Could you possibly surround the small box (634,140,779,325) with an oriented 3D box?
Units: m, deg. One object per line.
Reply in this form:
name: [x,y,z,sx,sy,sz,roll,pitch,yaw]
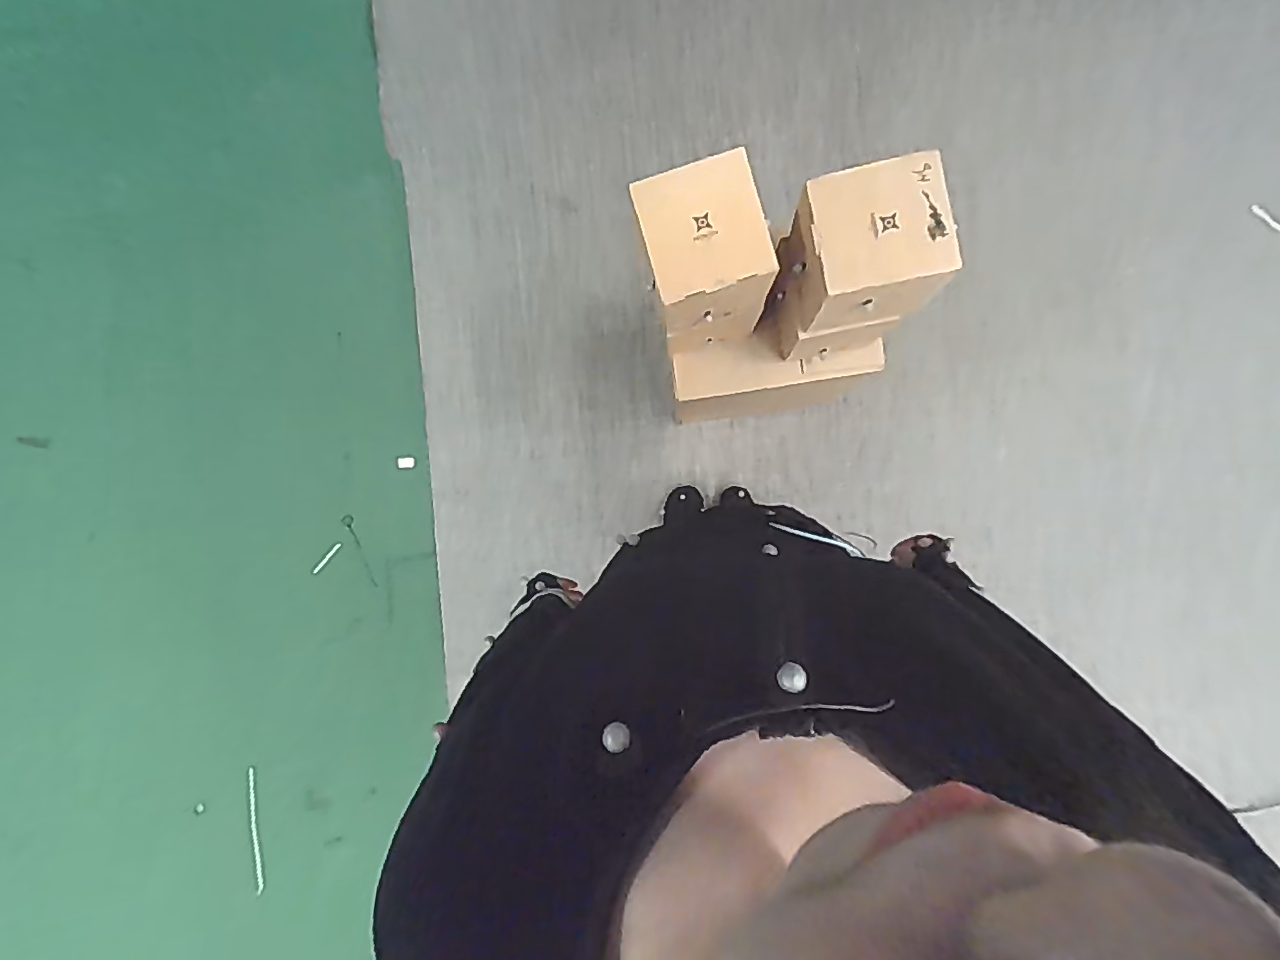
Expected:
small box: [0.093,-0.358,0.816,0.168,0.176,0.179,-16,90,4]
